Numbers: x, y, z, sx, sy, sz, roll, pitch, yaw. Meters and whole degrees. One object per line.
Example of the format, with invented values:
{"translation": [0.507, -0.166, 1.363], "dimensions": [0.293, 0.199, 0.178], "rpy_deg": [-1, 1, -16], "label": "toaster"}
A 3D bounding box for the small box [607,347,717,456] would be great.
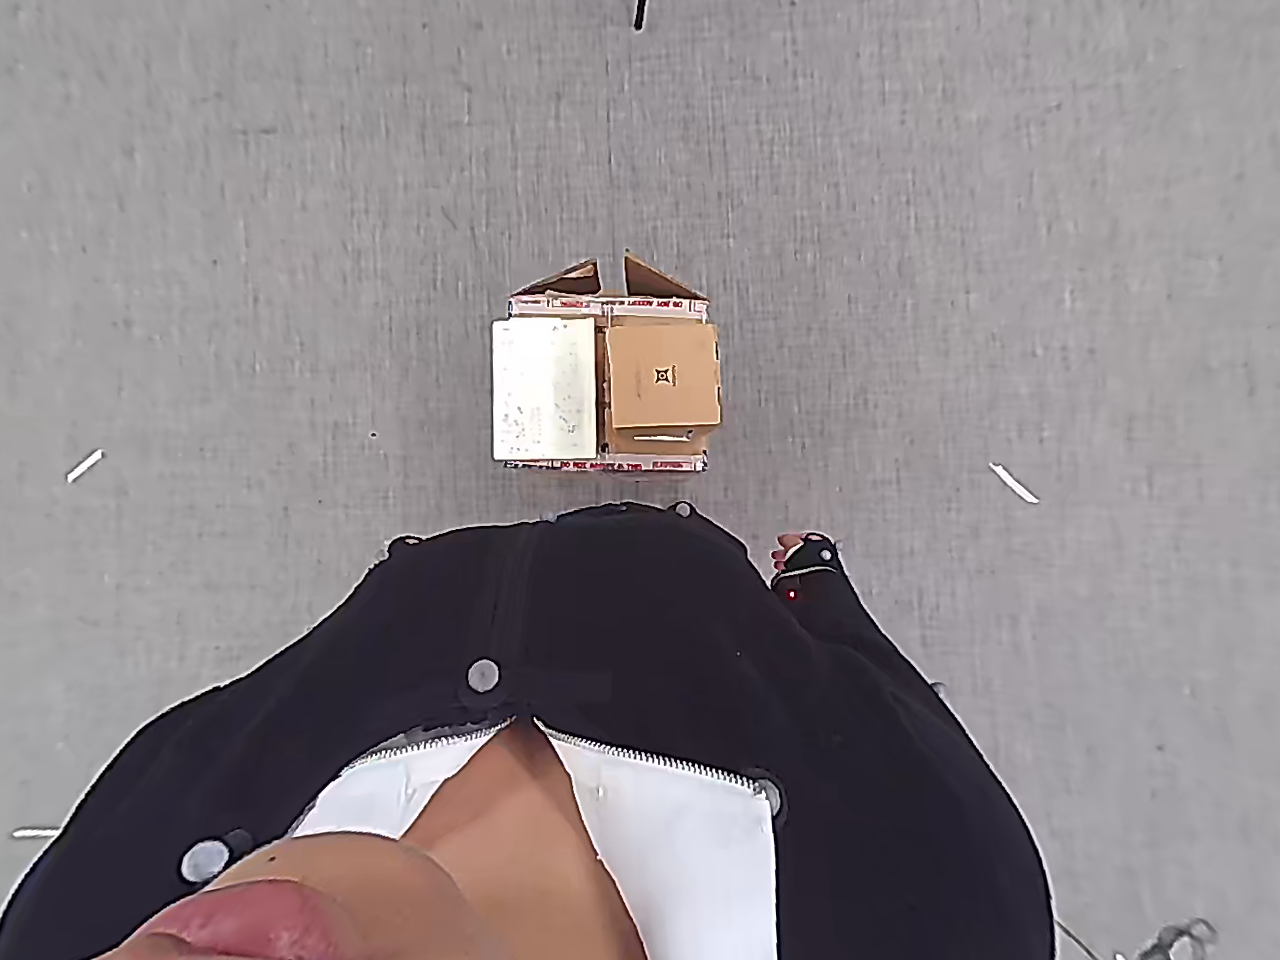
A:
{"translation": [0.034, -0.132, 0.959], "dimensions": [0.179, 0.176, 0.168], "rpy_deg": [-3, 88, 0], "label": "small box"}
